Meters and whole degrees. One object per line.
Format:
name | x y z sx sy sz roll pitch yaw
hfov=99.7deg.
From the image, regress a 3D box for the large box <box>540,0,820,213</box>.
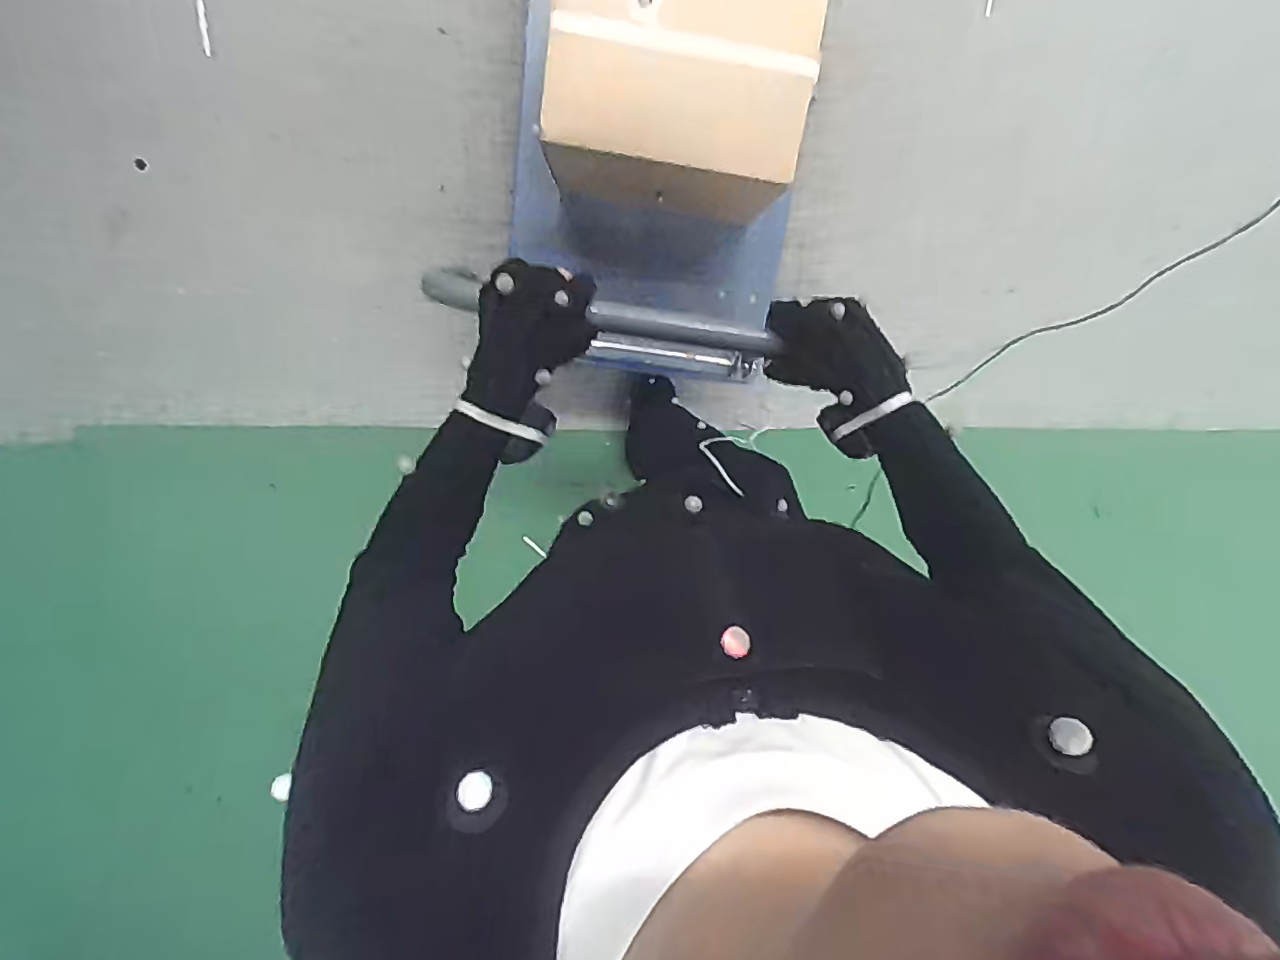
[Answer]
large box | 0.060 -0.692 0.953 0.408 0.320 0.320 8 103 -3
